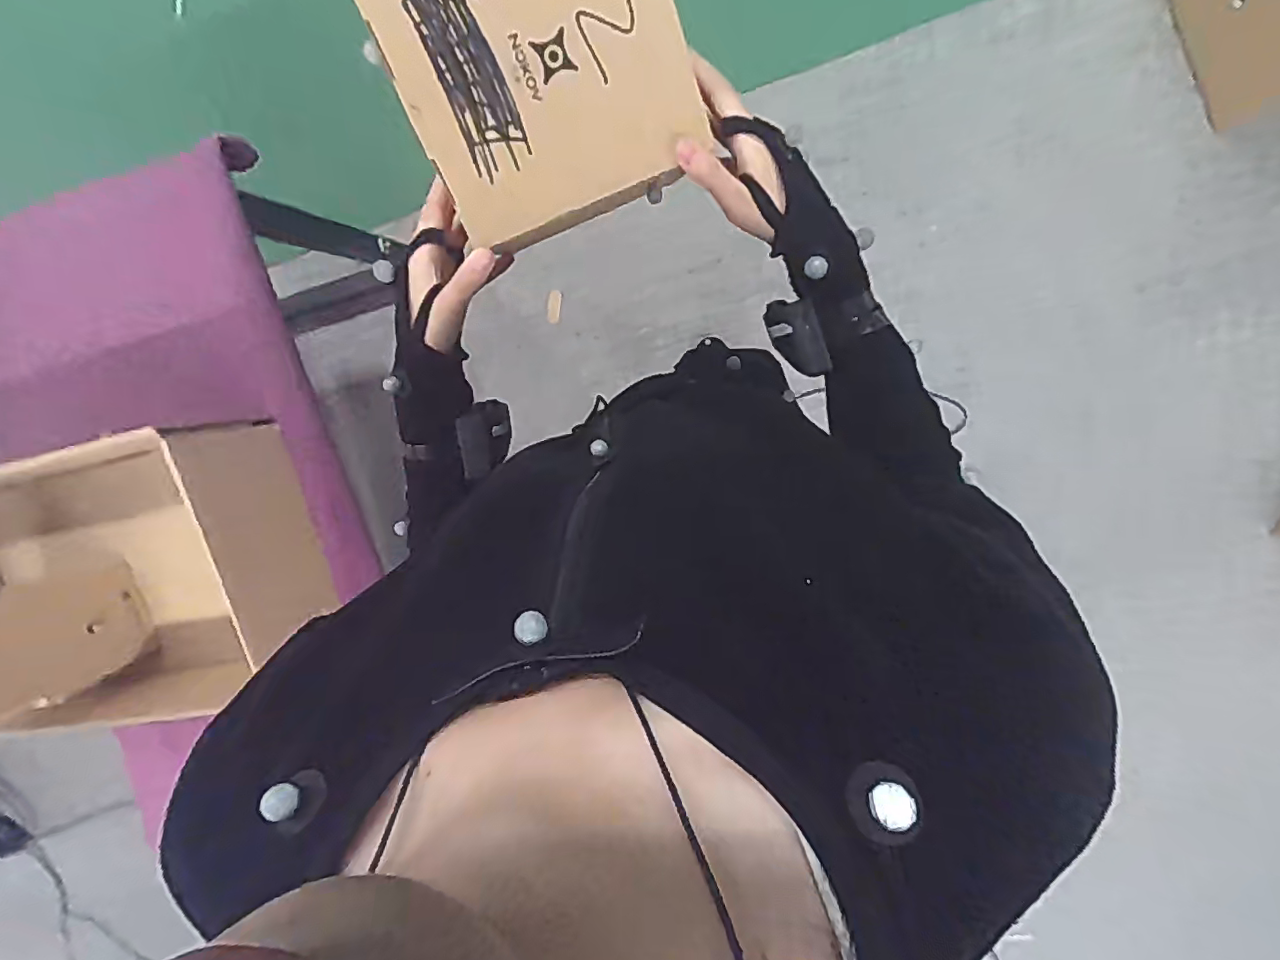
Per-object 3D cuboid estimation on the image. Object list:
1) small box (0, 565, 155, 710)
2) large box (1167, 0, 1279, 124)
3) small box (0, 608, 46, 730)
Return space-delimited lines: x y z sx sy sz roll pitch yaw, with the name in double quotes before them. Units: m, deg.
"small box" -0.929 0.247 0.857 0.179 0.176 0.168 -11 100 11
"large box" 1.234 -0.954 0.944 0.320 0.320 0.408 -27 96 14
"small box" -0.952 0.276 0.700 0.168 0.176 0.179 -14 100 11
